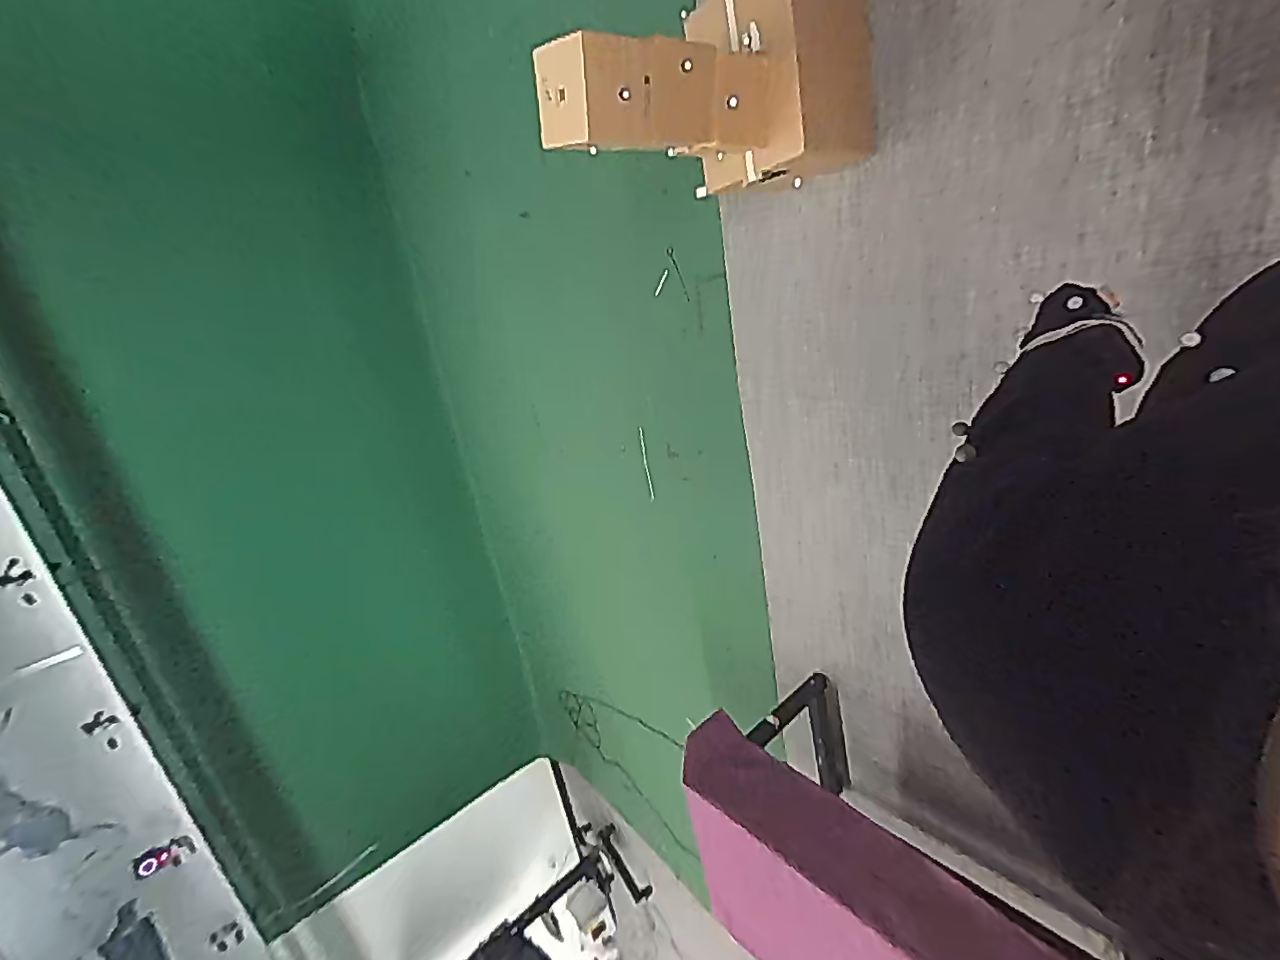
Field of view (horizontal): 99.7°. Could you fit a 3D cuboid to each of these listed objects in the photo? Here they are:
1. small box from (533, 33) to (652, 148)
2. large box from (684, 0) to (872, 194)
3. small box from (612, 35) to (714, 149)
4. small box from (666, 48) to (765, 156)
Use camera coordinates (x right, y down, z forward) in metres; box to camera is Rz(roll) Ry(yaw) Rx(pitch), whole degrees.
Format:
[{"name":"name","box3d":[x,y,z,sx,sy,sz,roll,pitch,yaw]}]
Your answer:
[{"name":"small box","box3d":[-0.089,-0.759,1.071,0.179,0.176,0.168,30,131,43]},{"name":"large box","box3d":[0.352,-0.982,1.360,0.320,0.320,0.408,10,116,51]},{"name":"small box","box3d":[0.043,-0.814,1.154,0.168,0.176,0.179,29,132,44]},{"name":"small box","box3d":[0.172,-0.857,1.244,0.168,0.176,0.179,25,128,46]}]
